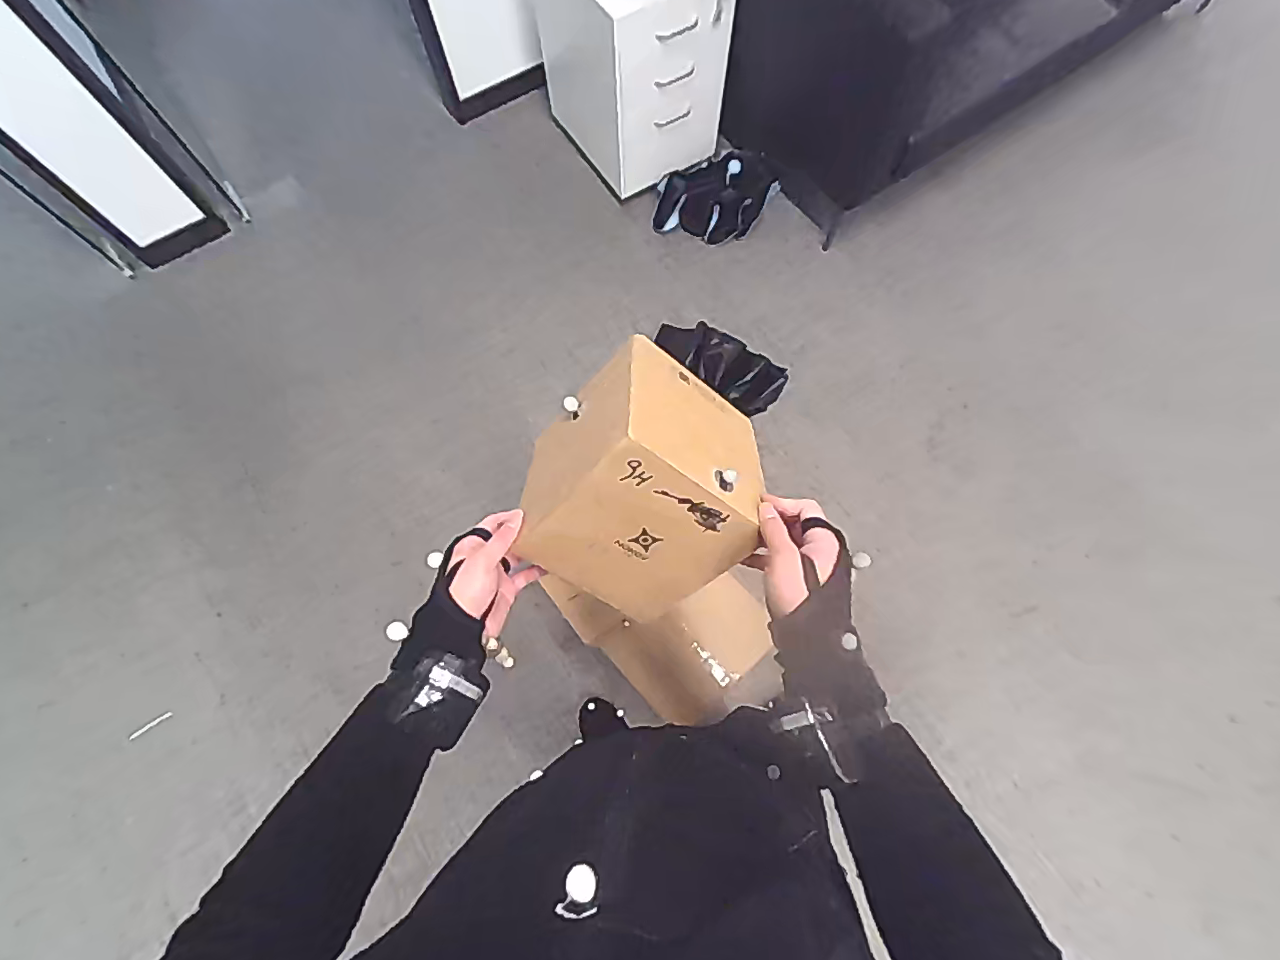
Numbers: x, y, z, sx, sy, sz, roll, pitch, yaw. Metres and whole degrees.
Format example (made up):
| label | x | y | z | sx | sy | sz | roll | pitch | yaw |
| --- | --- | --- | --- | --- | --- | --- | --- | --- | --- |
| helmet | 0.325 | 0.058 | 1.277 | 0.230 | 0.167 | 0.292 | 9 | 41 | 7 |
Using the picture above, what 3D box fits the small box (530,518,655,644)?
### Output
| label | x | y | z | sx | sy | sz | roll | pitch | yaw |
| --- | --- | --- | --- | --- | --- | --- | --- | --- | --- |
| small box | -0.088 | 0.204 | 1.070 | 0.179 | 0.176 | 0.168 | -37 | 73 | -9 |
